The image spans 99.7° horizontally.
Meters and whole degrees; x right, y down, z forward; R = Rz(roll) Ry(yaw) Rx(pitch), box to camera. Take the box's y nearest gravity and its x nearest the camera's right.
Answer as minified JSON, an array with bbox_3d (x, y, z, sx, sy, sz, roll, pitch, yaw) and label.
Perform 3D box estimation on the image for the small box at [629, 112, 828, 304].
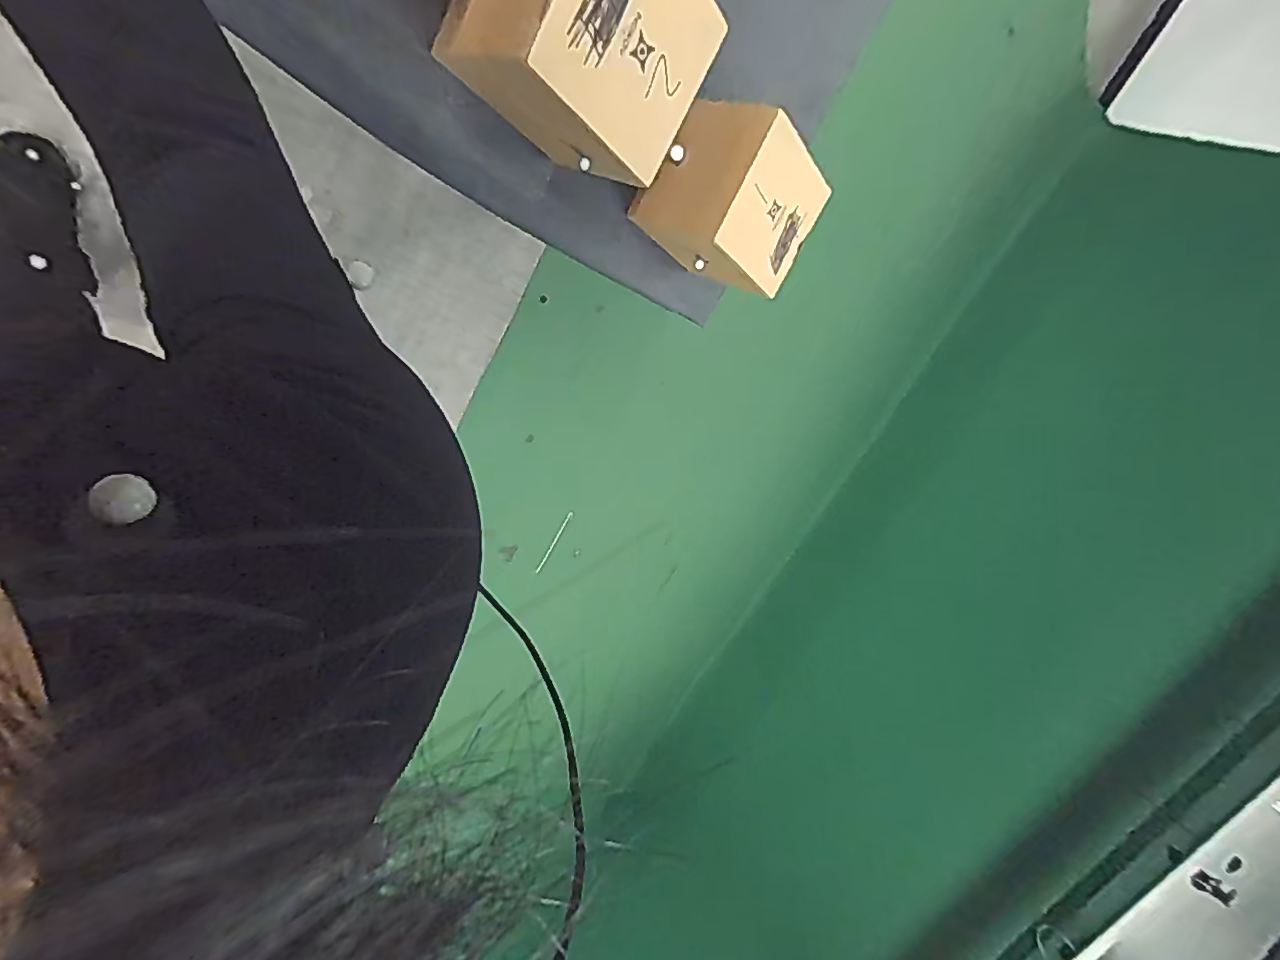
[{"bbox_3d":[0.121,-0.374,0.745,0.179,0.176,0.168,16,106,-51],"label":"small box"}]
